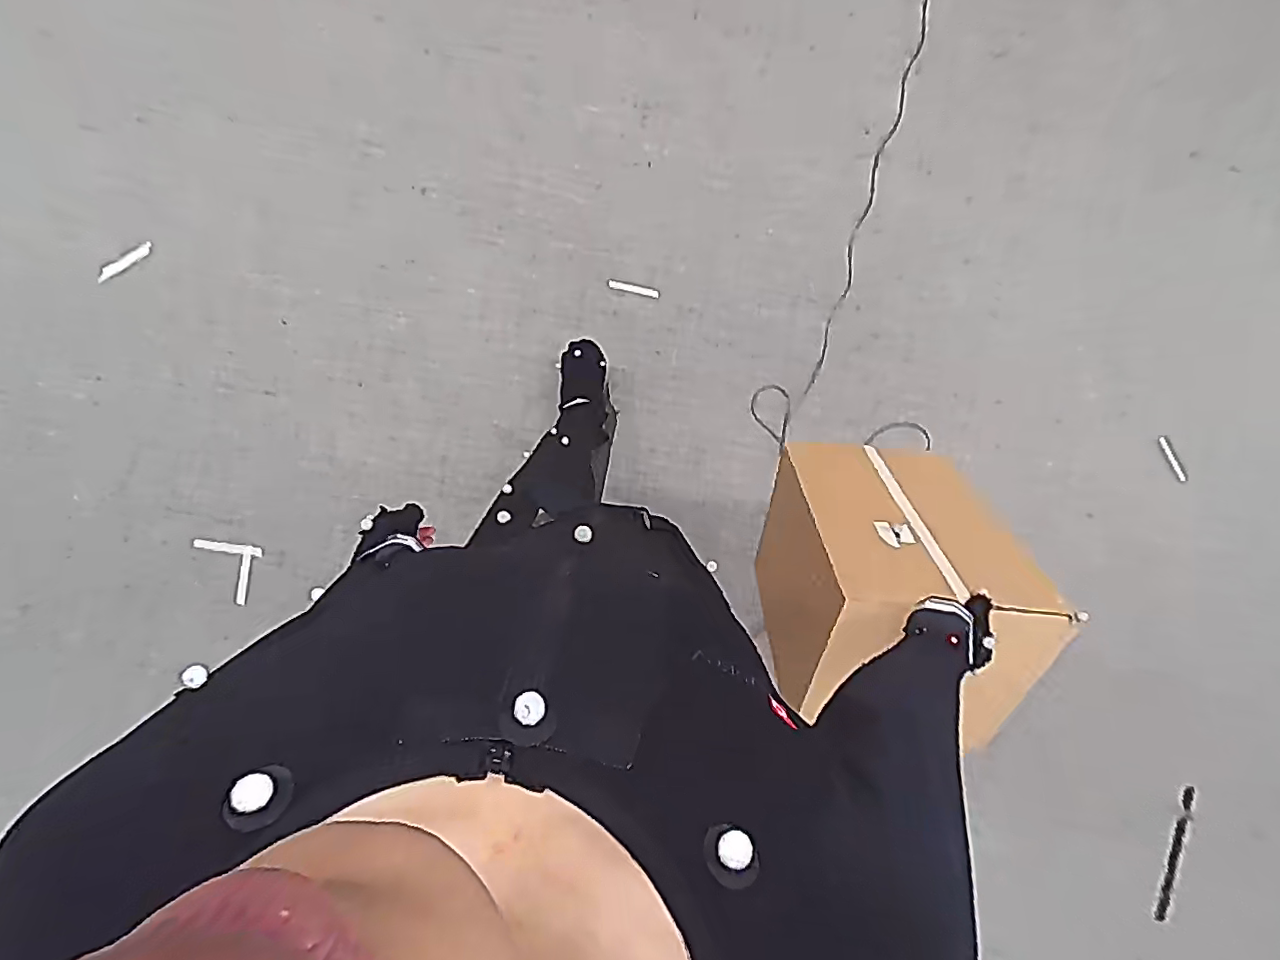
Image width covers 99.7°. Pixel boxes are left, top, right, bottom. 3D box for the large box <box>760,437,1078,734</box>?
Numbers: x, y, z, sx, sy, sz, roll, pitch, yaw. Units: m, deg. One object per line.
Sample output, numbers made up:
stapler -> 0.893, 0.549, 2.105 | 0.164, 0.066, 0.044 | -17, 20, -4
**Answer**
large box -> 0.420, 0.168, 0.953 | 0.320, 0.408, 0.320 | 4, 126, 0
